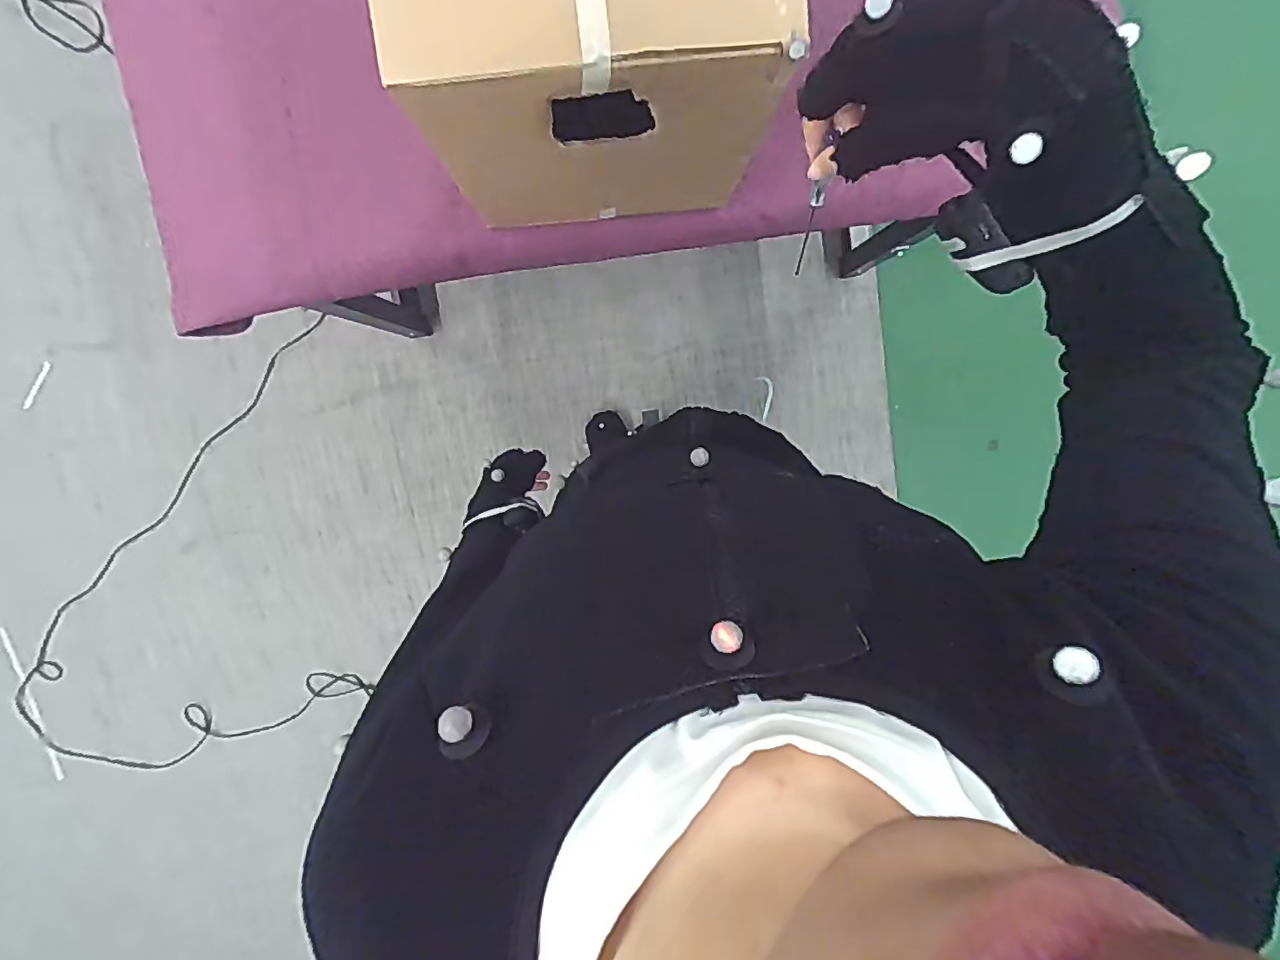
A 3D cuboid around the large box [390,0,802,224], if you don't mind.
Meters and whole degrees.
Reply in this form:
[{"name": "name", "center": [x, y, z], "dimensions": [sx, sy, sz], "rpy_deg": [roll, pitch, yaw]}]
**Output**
[{"name": "large box", "center": [-0.055, -0.521, 0.532], "dimensions": [0.320, 0.320, 0.408], "rpy_deg": [-6, 98, -1]}]
